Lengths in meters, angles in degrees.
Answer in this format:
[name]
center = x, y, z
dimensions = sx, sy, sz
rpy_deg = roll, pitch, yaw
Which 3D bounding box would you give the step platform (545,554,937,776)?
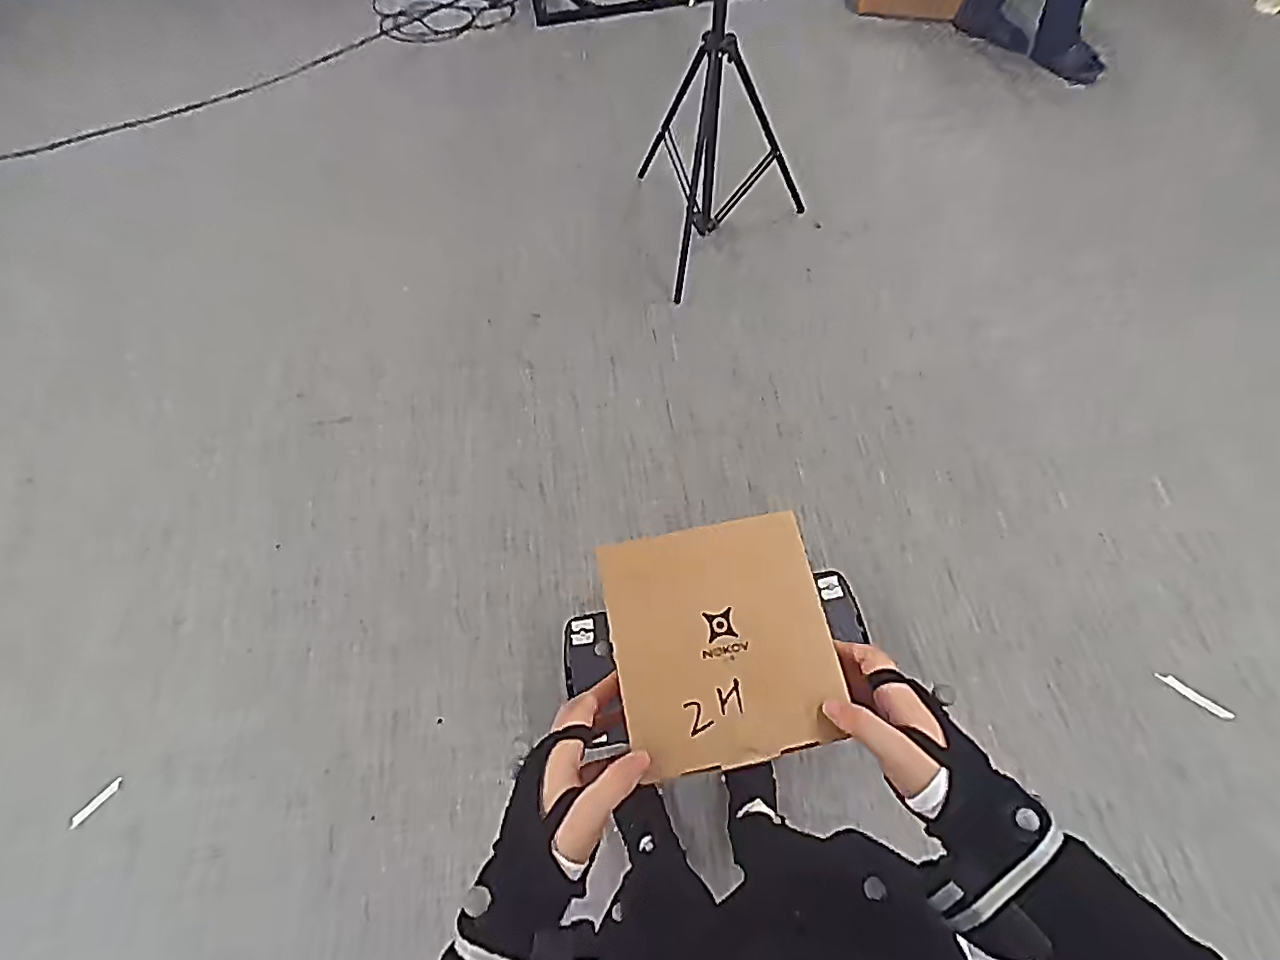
[step platform]
center = 0.173, 0.356, 1.046
dimensions = 0.684, 0.204, 0.286
rpy_deg = -10, 67, -1

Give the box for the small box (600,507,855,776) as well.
[small box]
center = 0.059, 0.142, 0.485
dimensions = 0.168, 0.176, 0.179
rpy_deg = -10, 71, -4
